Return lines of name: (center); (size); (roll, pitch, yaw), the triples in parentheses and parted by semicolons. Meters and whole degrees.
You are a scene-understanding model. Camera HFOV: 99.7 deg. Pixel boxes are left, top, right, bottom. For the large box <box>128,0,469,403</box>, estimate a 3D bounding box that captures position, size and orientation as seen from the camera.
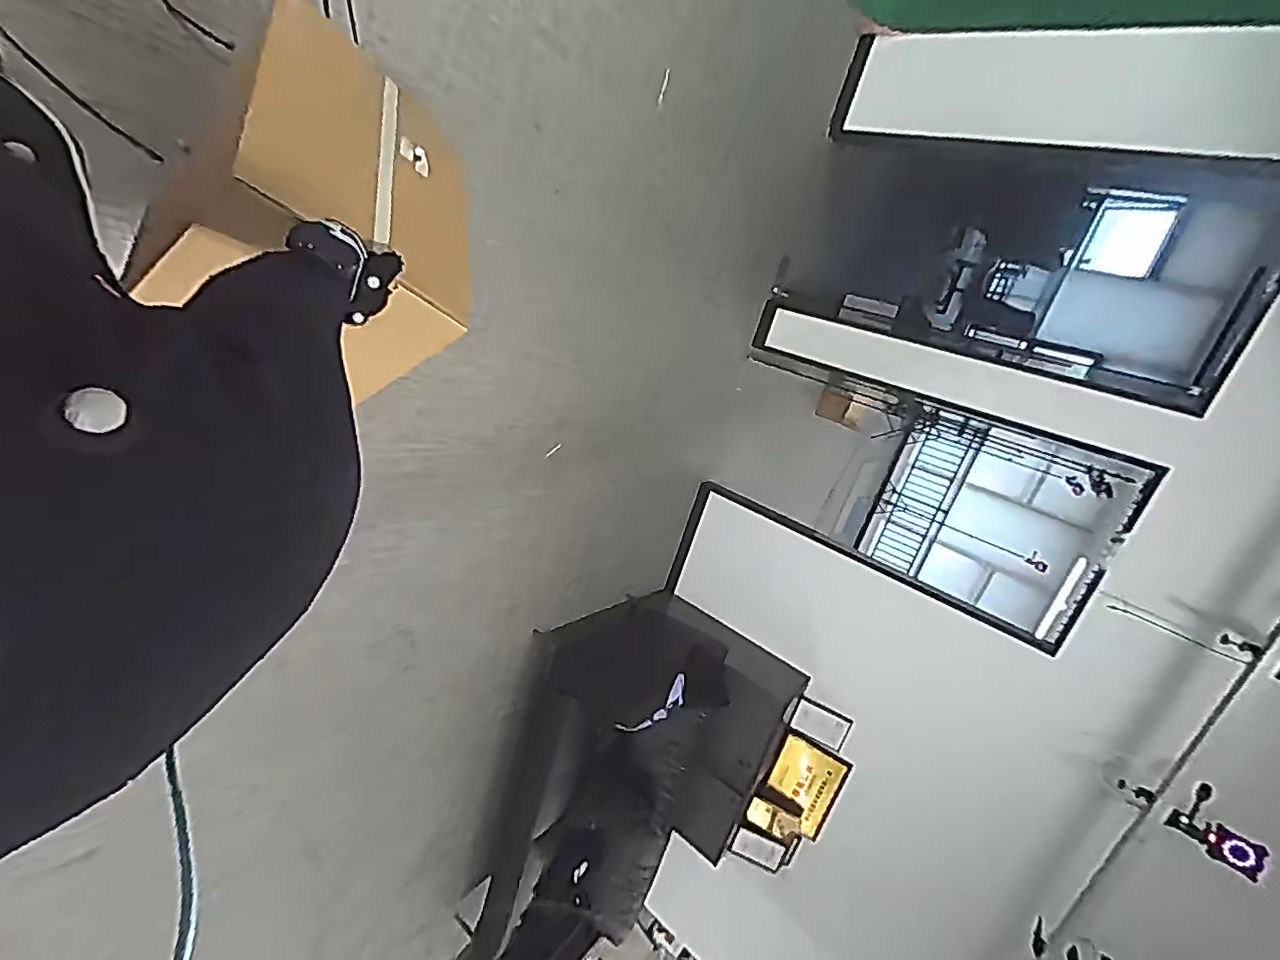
large box: (-0.490, -0.393, 0.826); (0.320, 0.320, 0.408); (29, 46, -54)
